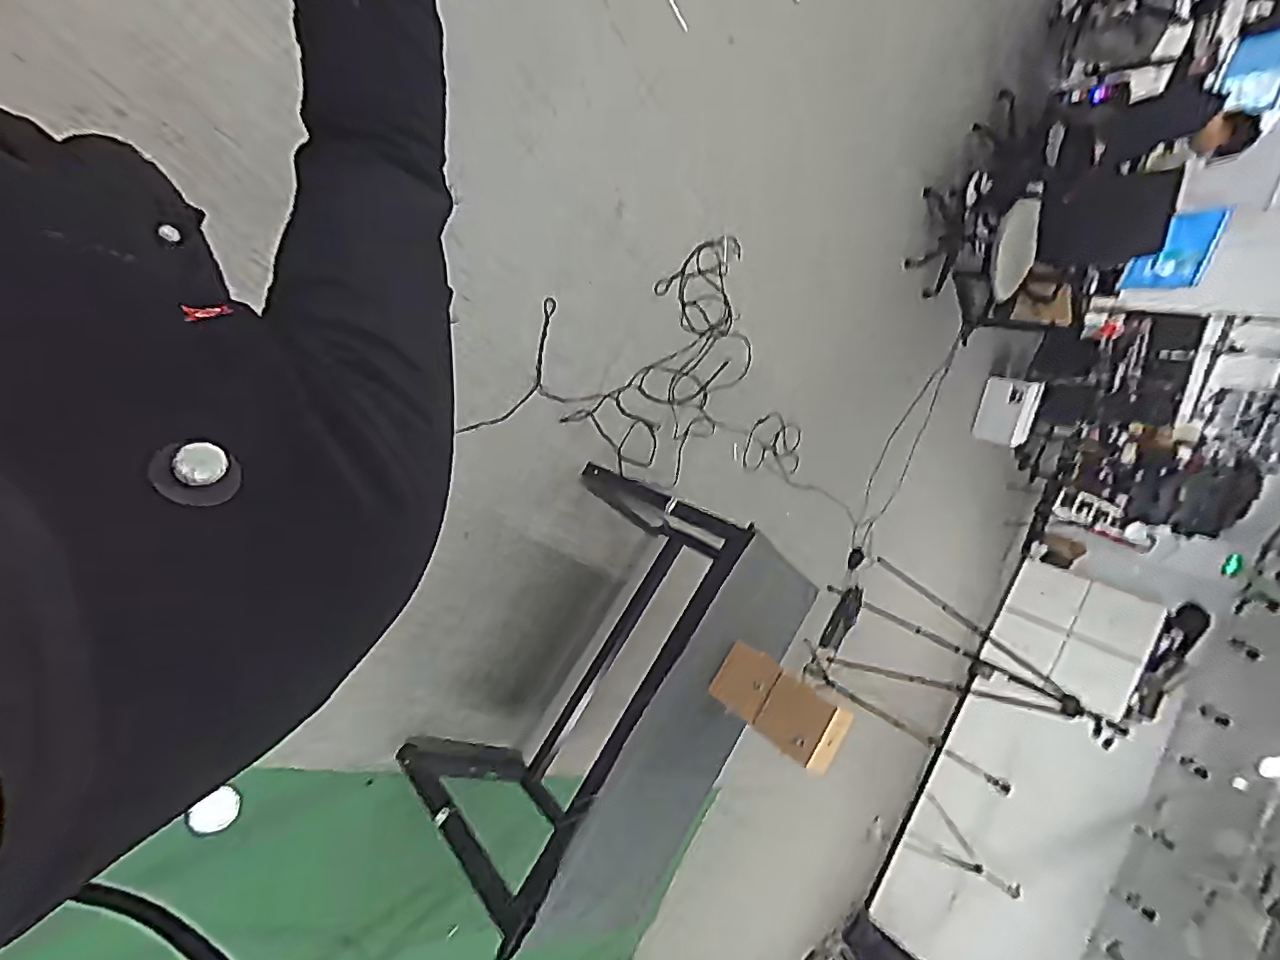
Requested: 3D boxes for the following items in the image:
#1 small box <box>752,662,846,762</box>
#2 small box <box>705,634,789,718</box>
[{"bbox_3d":[0.426,0.629,1.472,0.179,0.176,0.168,-58,138,-10],"label":"small box"},{"bbox_3d":[0.319,0.580,1.588,0.179,0.176,0.168,-56,137,-11],"label":"small box"}]
